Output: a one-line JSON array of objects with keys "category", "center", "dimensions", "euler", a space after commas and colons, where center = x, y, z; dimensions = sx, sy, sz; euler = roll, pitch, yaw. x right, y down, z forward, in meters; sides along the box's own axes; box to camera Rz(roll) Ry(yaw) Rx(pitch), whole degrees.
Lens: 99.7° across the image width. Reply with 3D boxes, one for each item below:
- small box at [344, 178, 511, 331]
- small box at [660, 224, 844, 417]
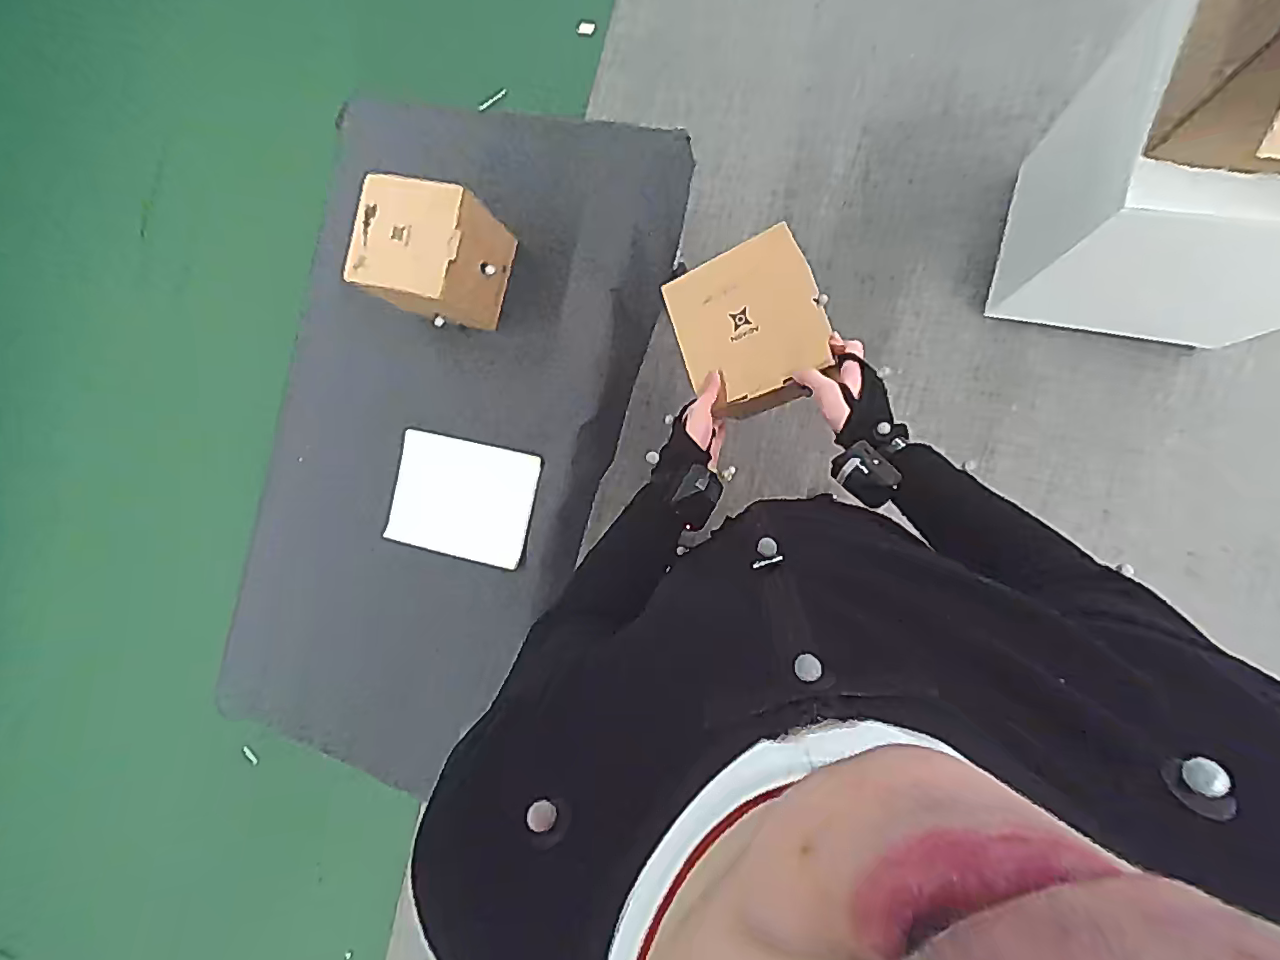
[{"category": "small box", "center": [-0.333, -0.355, 0.881], "dimensions": [0.179, 0.176, 0.168], "euler": [15, 92, 12]}, {"category": "small box", "center": [0.153, -0.188, 0.706], "dimensions": [0.168, 0.176, 0.179], "euler": [-20, 82, 25]}]
